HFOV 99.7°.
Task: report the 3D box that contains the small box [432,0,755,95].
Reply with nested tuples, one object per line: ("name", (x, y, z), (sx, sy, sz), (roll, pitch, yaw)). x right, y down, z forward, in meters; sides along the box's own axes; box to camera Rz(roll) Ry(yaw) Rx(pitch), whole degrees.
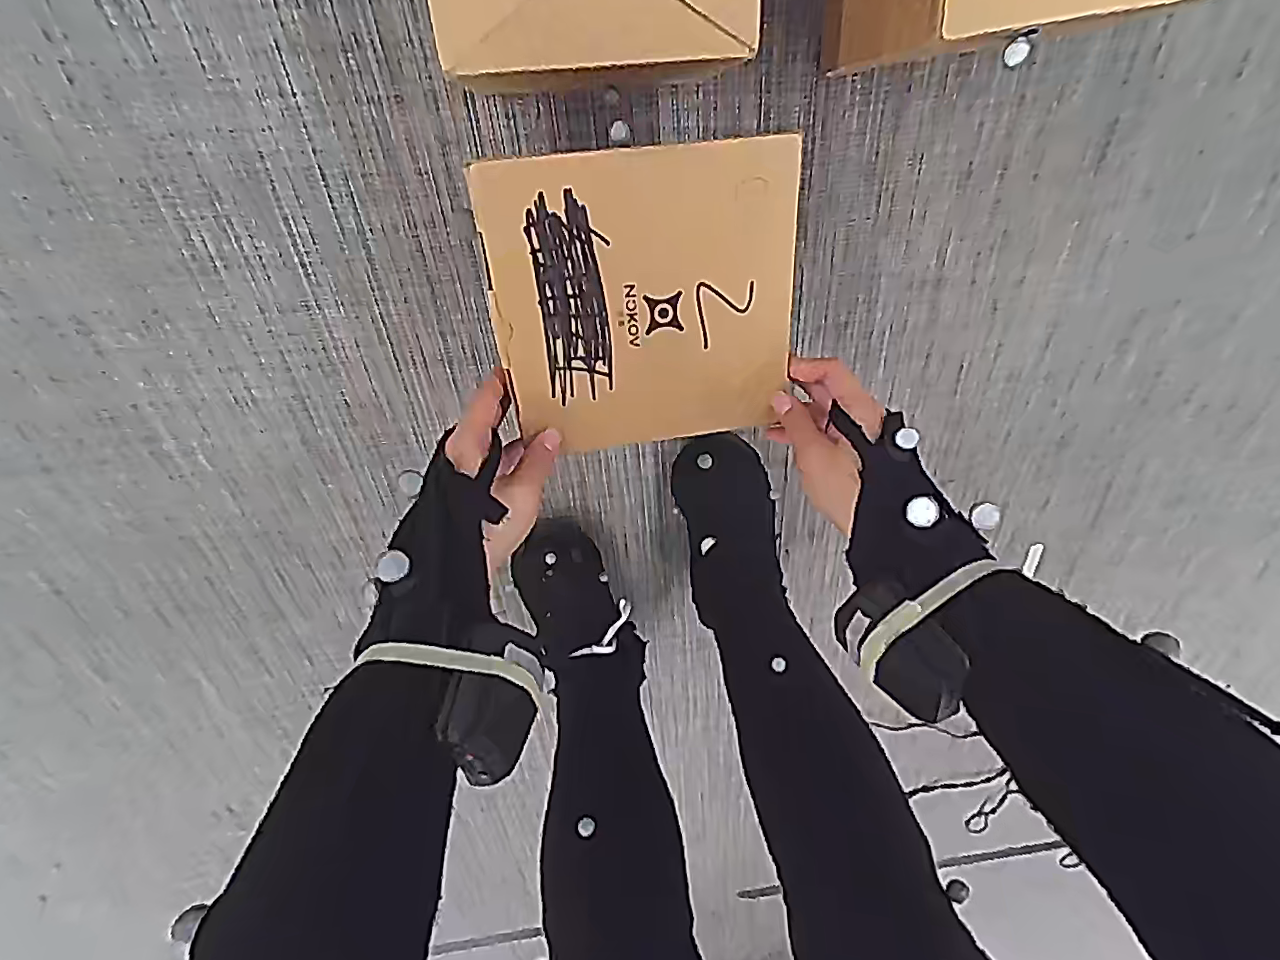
("small box", (-0.033, -0.339, 0.322), (0.179, 0.176, 0.168), (-7, 122, -4))

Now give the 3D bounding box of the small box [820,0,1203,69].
("small box", (0.234, -0.380, 0.341), (0.179, 0.176, 0.168), (-10, 123, -1))
